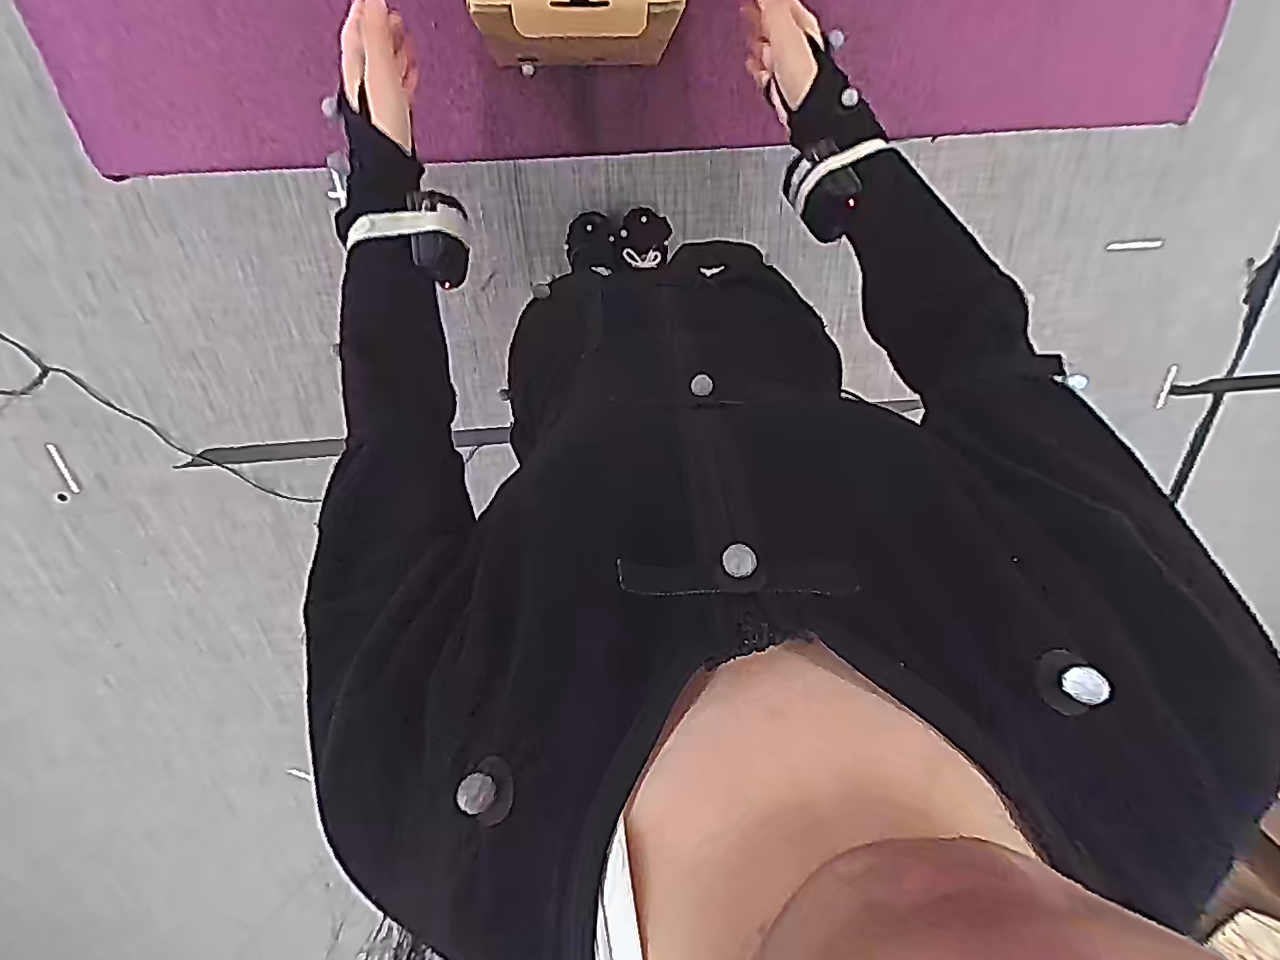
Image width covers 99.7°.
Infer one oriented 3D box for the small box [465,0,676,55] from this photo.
[{"bbox_3d":[-0.058,-0.470,0.439,0.168,0.176,0.179,-4,115,-4],"label":"small box"}]
